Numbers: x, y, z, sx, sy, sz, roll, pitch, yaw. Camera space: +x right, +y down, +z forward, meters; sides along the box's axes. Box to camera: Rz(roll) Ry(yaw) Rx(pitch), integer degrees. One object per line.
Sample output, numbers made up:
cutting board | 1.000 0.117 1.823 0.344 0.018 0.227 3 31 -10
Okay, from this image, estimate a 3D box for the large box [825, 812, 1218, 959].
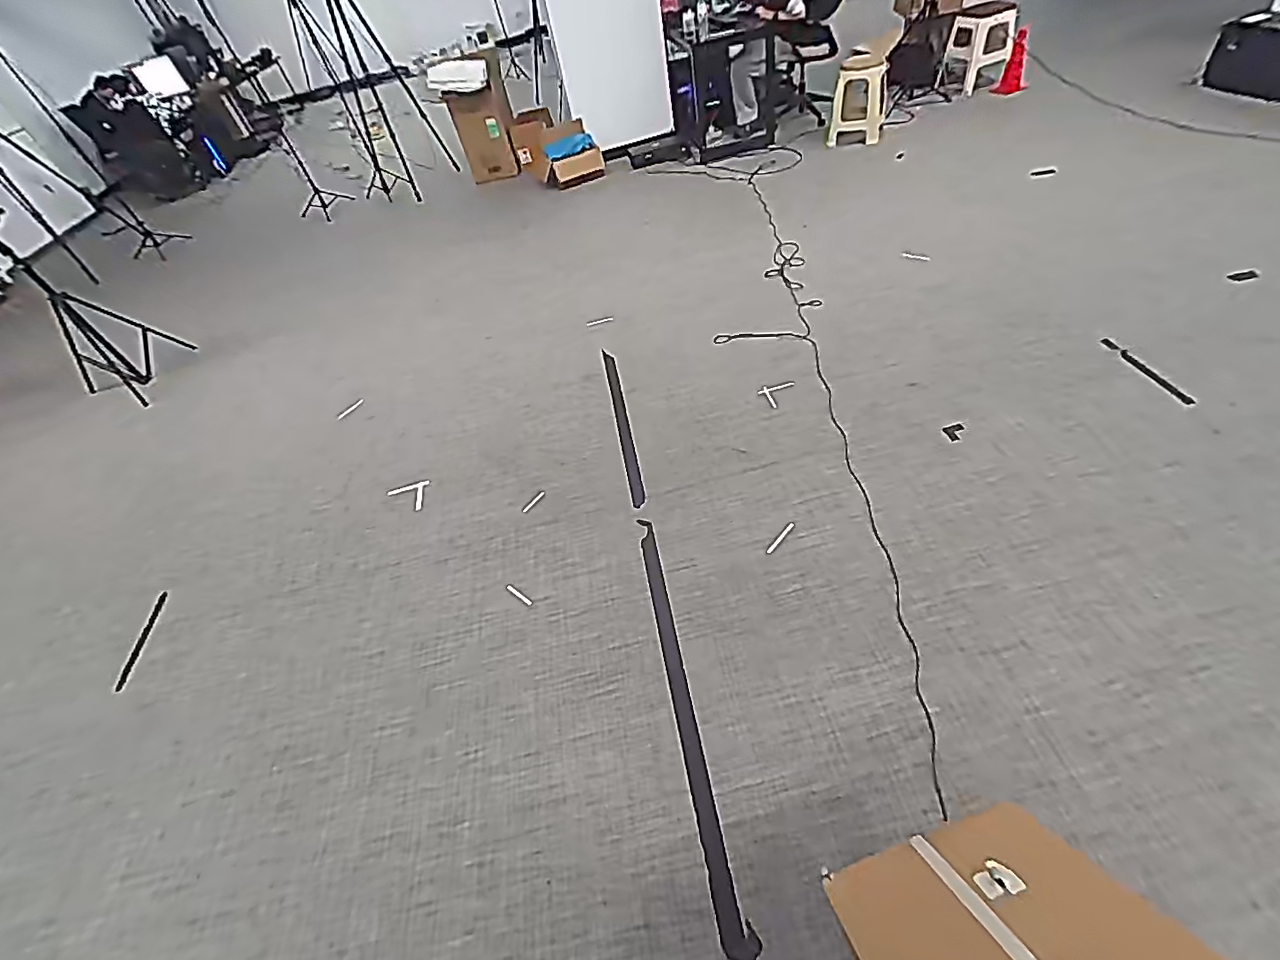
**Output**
large box | 0.476 0.675 0.607 0.320 0.408 0.320 -20 83 -3
